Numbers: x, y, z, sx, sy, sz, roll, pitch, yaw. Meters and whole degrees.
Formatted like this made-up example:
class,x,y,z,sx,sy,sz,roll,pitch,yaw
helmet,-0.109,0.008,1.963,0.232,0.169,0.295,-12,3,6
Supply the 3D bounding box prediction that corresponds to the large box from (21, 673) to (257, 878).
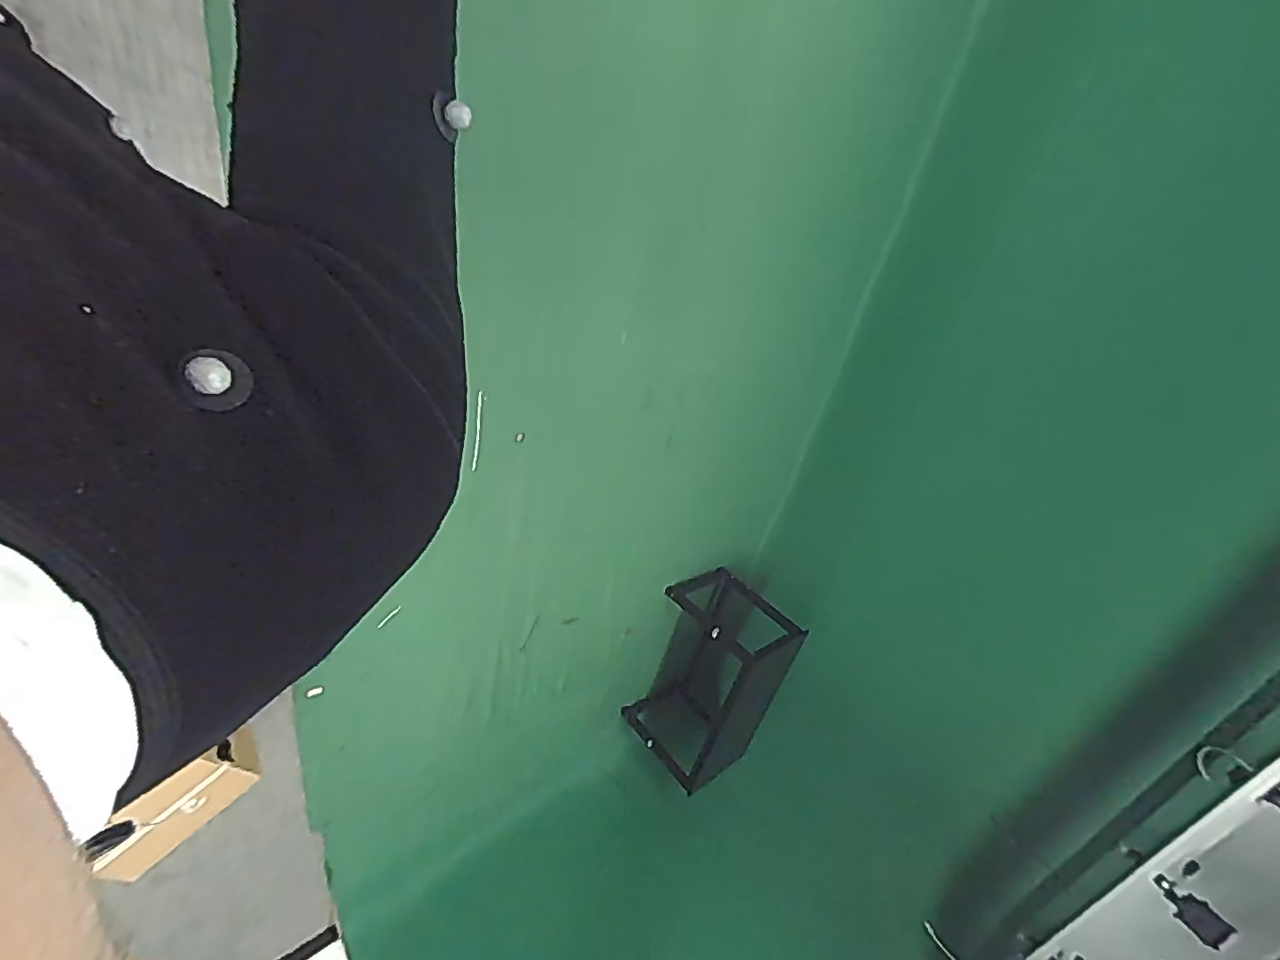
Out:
class,x,y,z,sx,sy,sz,roll,pitch,yaw
large box,-1.468,0.869,1.605,0.408,0.320,0.320,-40,143,-19
